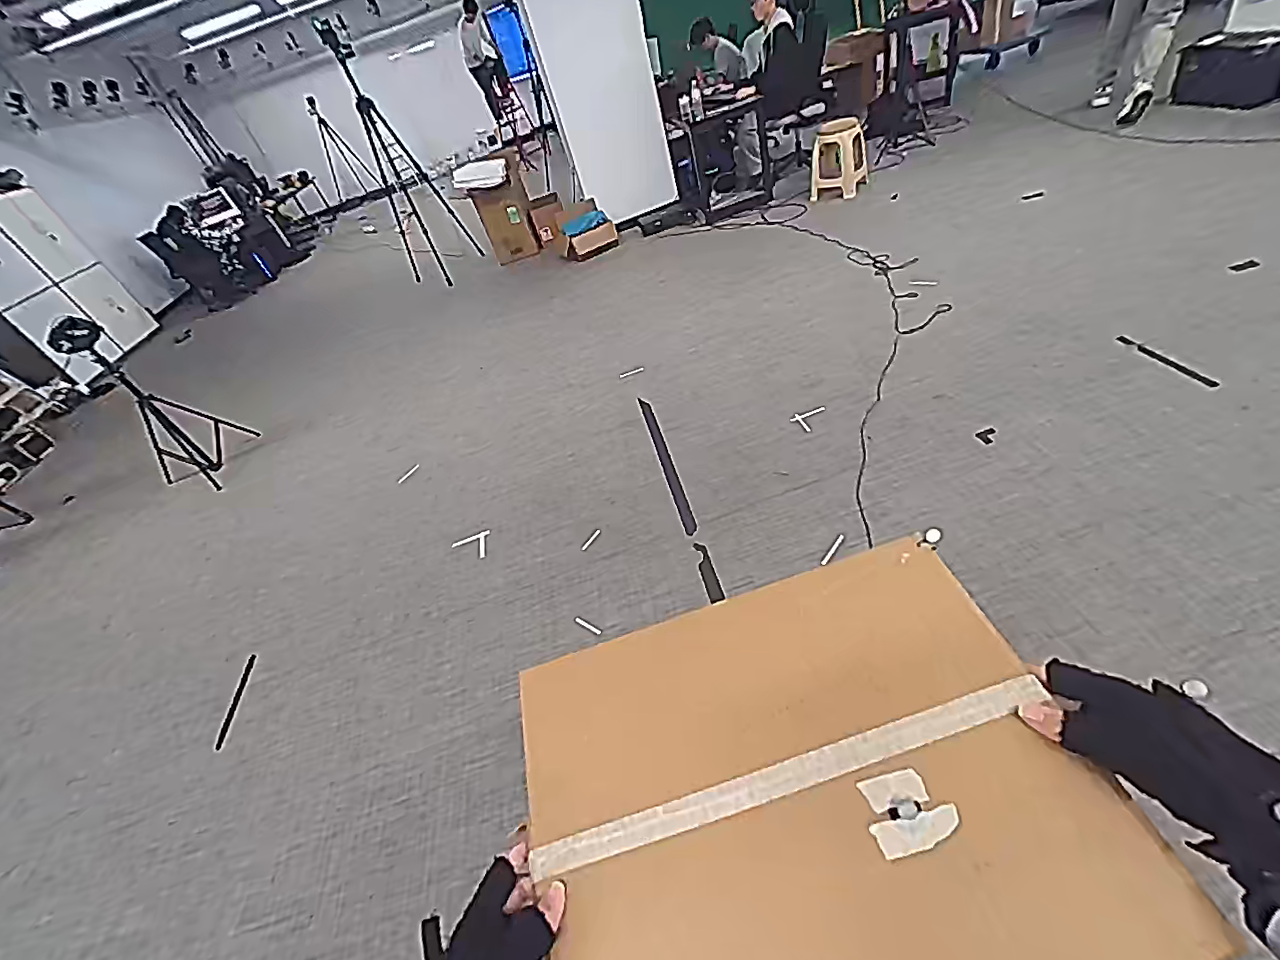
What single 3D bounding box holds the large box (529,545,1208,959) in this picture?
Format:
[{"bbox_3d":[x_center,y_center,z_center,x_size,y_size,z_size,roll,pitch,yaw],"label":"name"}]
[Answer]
[{"bbox_3d":[0.148,0.331,0.525,0.408,0.320,0.320,-20,47,-1],"label":"large box"}]
